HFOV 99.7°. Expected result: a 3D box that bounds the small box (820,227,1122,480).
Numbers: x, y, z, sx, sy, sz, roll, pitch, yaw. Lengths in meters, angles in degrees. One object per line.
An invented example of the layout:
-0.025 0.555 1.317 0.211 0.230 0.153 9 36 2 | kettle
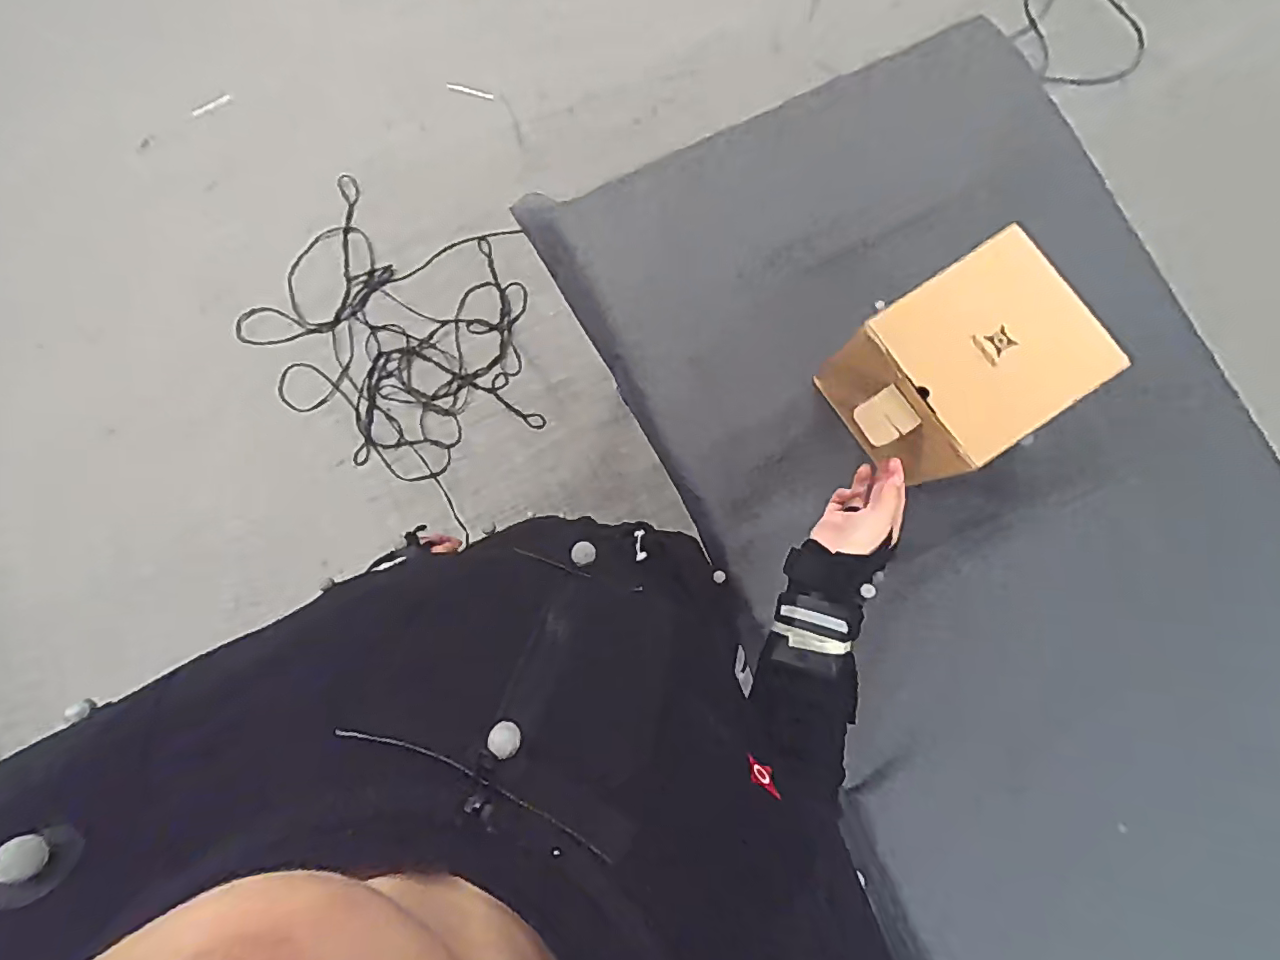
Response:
0.325 -0.117 0.573 0.179 0.176 0.168 -35 84 -2 | small box
